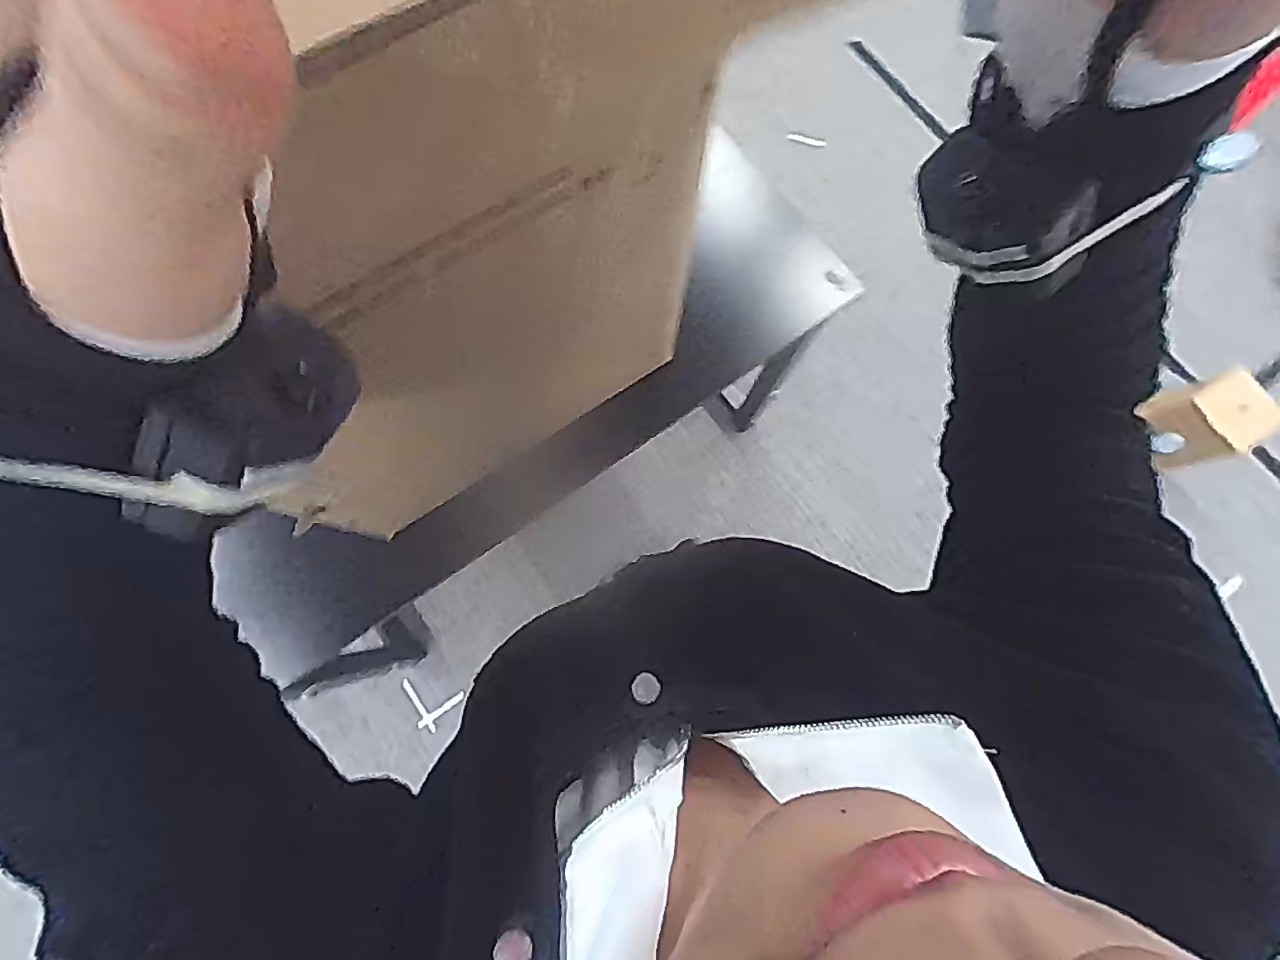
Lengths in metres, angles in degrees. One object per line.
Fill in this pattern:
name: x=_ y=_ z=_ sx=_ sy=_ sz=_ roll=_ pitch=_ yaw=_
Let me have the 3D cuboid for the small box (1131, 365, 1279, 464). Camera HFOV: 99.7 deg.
small box: x=1.461 y=-0.165 z=1.411 sx=0.179 sy=0.176 sz=0.168 roll=-31 pitch=80 yaw=-8

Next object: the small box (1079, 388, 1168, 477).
small box: x=1.448 y=-0.132 z=1.572 sx=0.168 sy=0.176 sz=0.179 roll=-31 pitch=81 yaw=-8
